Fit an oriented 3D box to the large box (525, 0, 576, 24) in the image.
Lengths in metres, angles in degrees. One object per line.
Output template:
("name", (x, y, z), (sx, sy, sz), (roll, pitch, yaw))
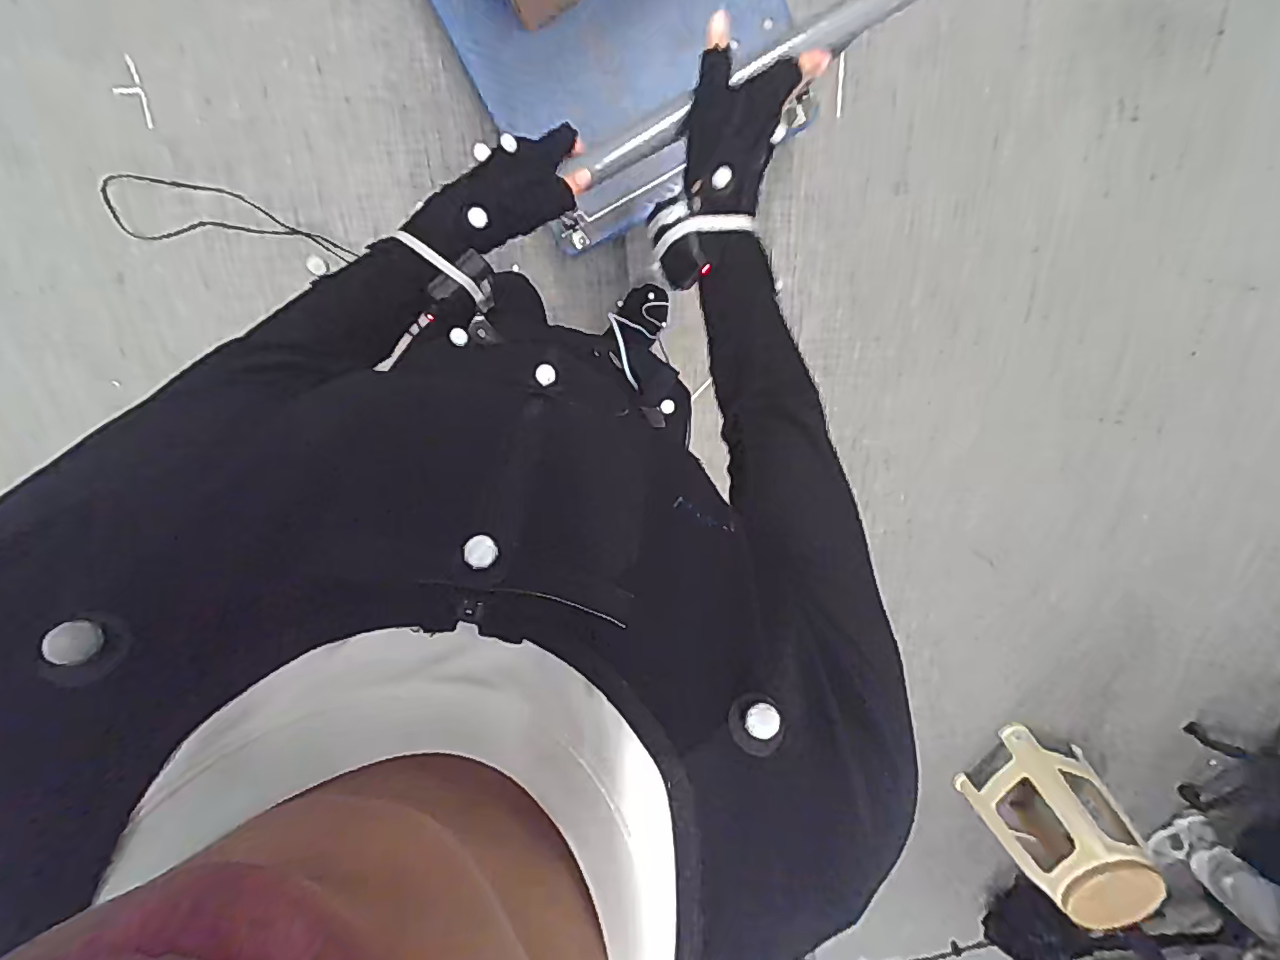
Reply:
("large box", (-0.089, -0.986, 0.771), (0.408, 0.320, 0.320), (-27, 110, 12))
